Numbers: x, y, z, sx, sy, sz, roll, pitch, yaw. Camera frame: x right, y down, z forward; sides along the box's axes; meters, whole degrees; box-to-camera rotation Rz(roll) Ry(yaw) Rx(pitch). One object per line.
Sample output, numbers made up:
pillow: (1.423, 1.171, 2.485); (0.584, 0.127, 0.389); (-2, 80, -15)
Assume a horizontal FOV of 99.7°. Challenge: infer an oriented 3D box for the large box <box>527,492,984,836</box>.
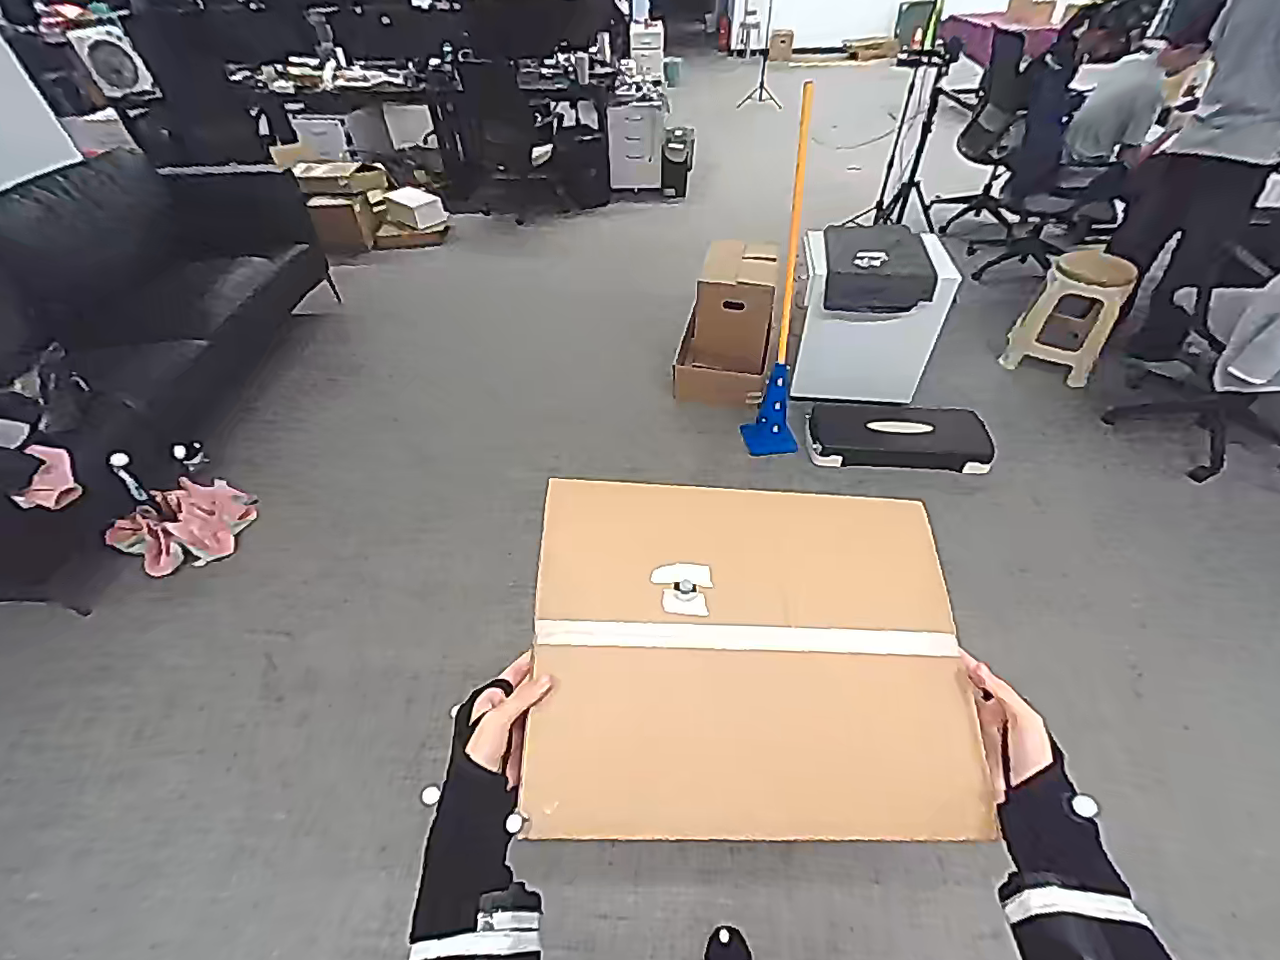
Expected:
large box: (0.093, 0.220, 0.652); (0.408, 0.320, 0.320); (2, 63, -4)
